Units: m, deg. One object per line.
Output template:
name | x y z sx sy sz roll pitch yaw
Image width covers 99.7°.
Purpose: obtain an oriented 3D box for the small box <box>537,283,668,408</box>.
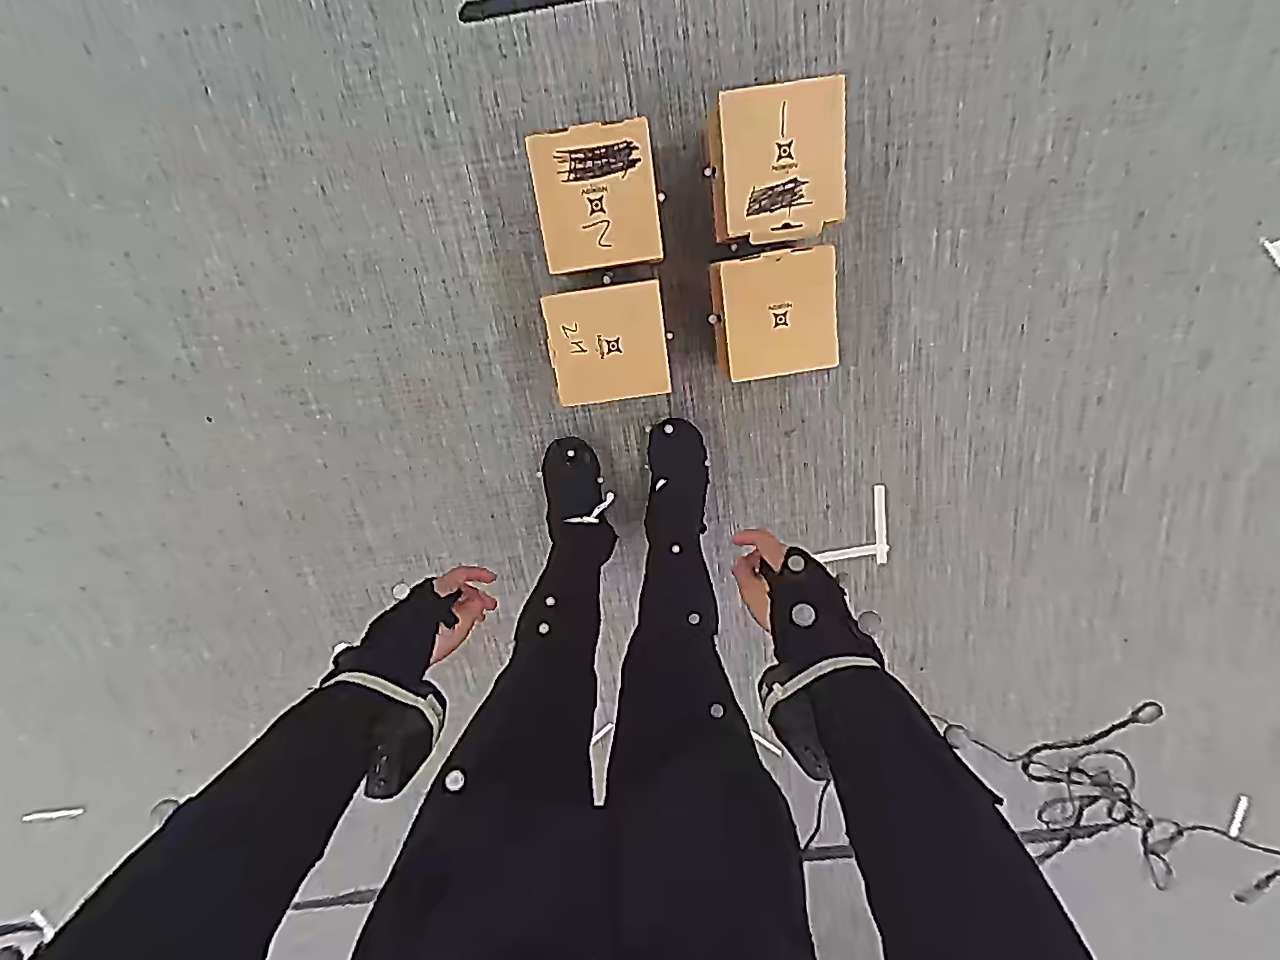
small box | -0.055 -0.222 0.870 0.179 0.176 0.168 -7 110 2
